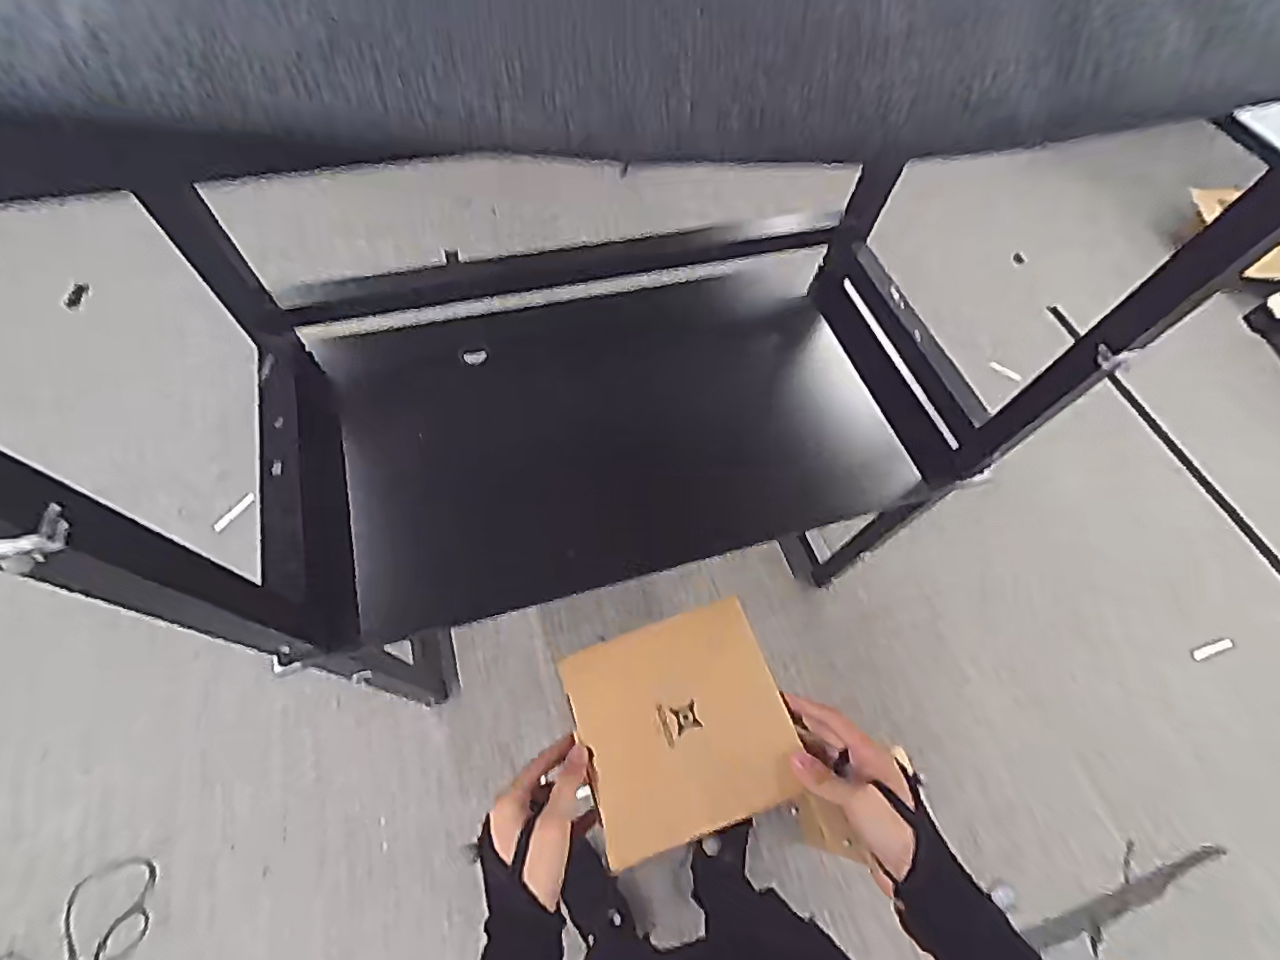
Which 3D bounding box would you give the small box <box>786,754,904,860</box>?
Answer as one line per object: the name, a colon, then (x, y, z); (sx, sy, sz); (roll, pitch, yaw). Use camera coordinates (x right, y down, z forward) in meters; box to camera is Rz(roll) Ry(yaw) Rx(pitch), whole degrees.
small box: (0.478, 0.770, 1.289); (0.179, 0.176, 0.168); (-16, 64, -12)
